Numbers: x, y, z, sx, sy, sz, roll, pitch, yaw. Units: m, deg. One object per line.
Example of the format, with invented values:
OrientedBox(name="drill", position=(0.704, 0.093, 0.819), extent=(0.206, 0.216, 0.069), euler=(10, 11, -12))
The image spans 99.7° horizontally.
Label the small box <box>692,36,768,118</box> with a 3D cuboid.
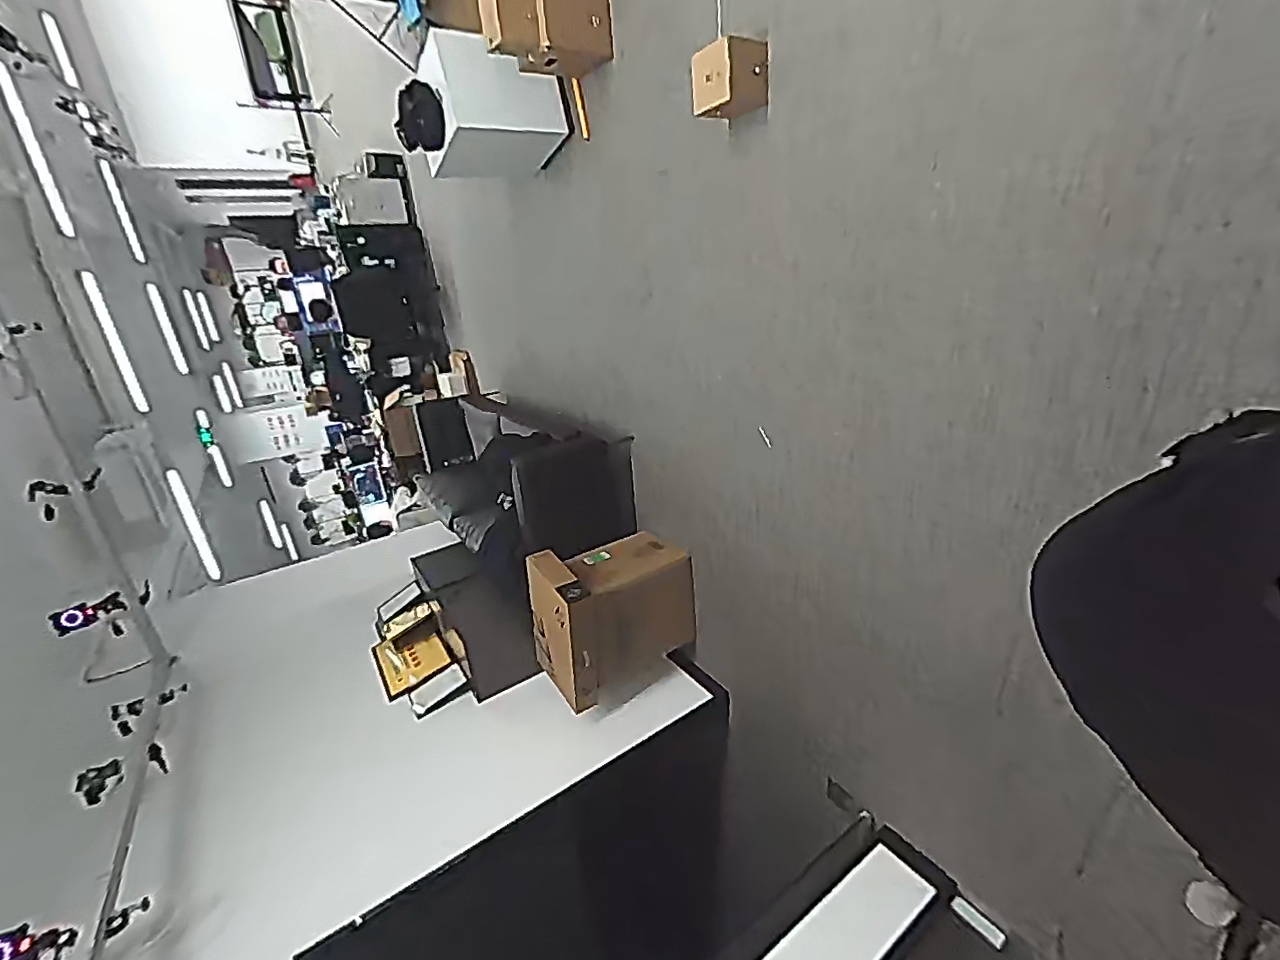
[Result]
OrientedBox(name="small box", position=(0.287, -1.274, 1.721), extent=(0.179, 0.176, 0.168), euler=(23, 126, 53))
